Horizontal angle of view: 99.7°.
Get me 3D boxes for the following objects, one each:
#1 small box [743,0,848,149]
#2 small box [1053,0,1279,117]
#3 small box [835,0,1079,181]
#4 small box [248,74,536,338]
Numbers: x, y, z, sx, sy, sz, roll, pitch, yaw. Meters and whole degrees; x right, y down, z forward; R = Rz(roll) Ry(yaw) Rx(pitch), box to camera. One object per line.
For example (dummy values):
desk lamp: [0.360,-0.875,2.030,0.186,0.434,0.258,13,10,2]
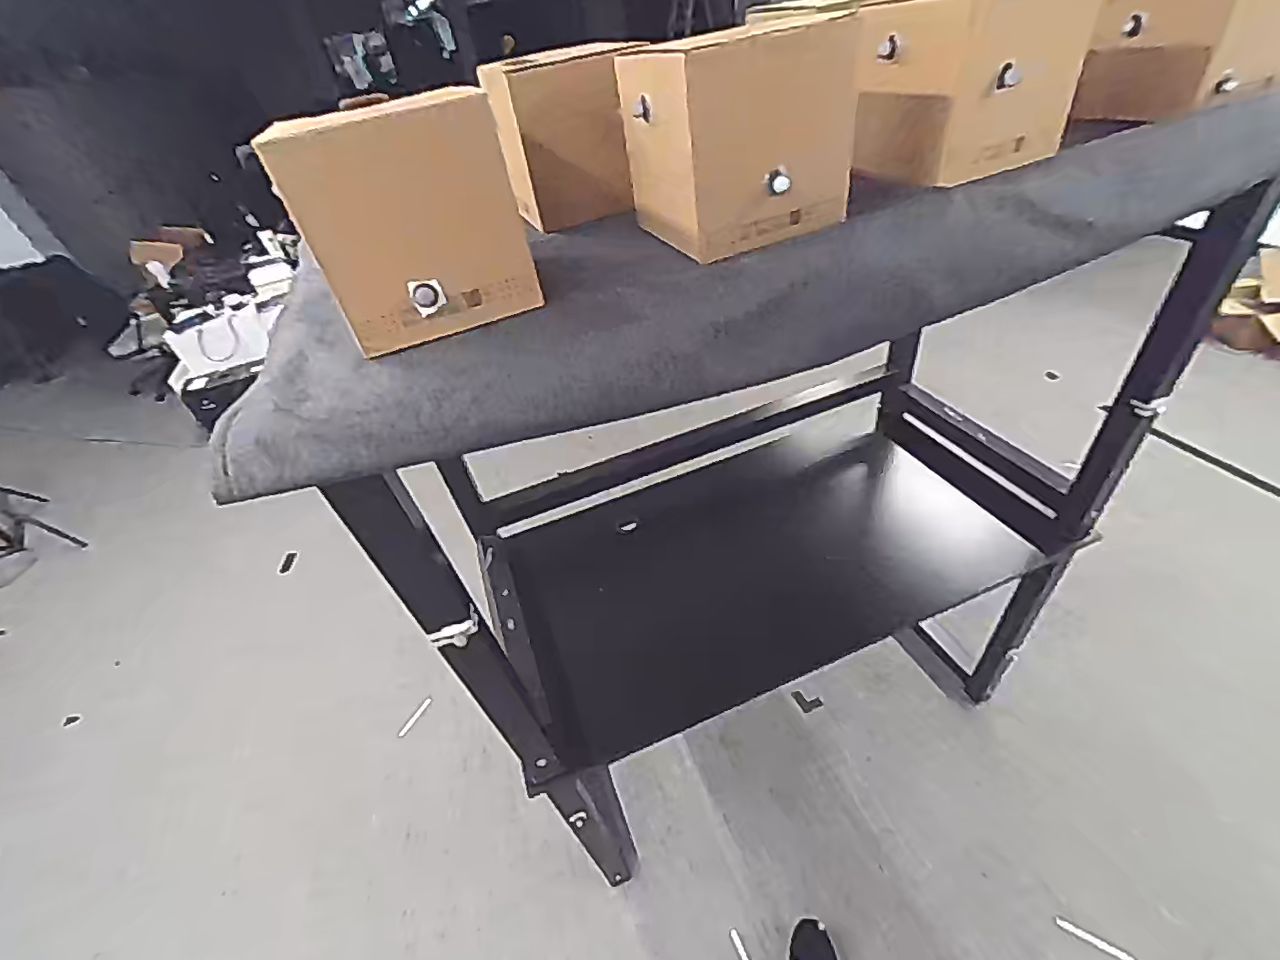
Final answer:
small box: [0.264,-0.602,0.794,0.168,0.176,0.179,-21,41,-11]
small box: [0.641,-0.545,0.639,0.168,0.176,0.179,-19,38,-8]
small box: [0.341,-0.450,0.604,0.168,0.176,0.179,-20,40,-10]
small box: [-0.211,-0.251,0.494,0.168,0.176,0.179,-23,41,-13]
